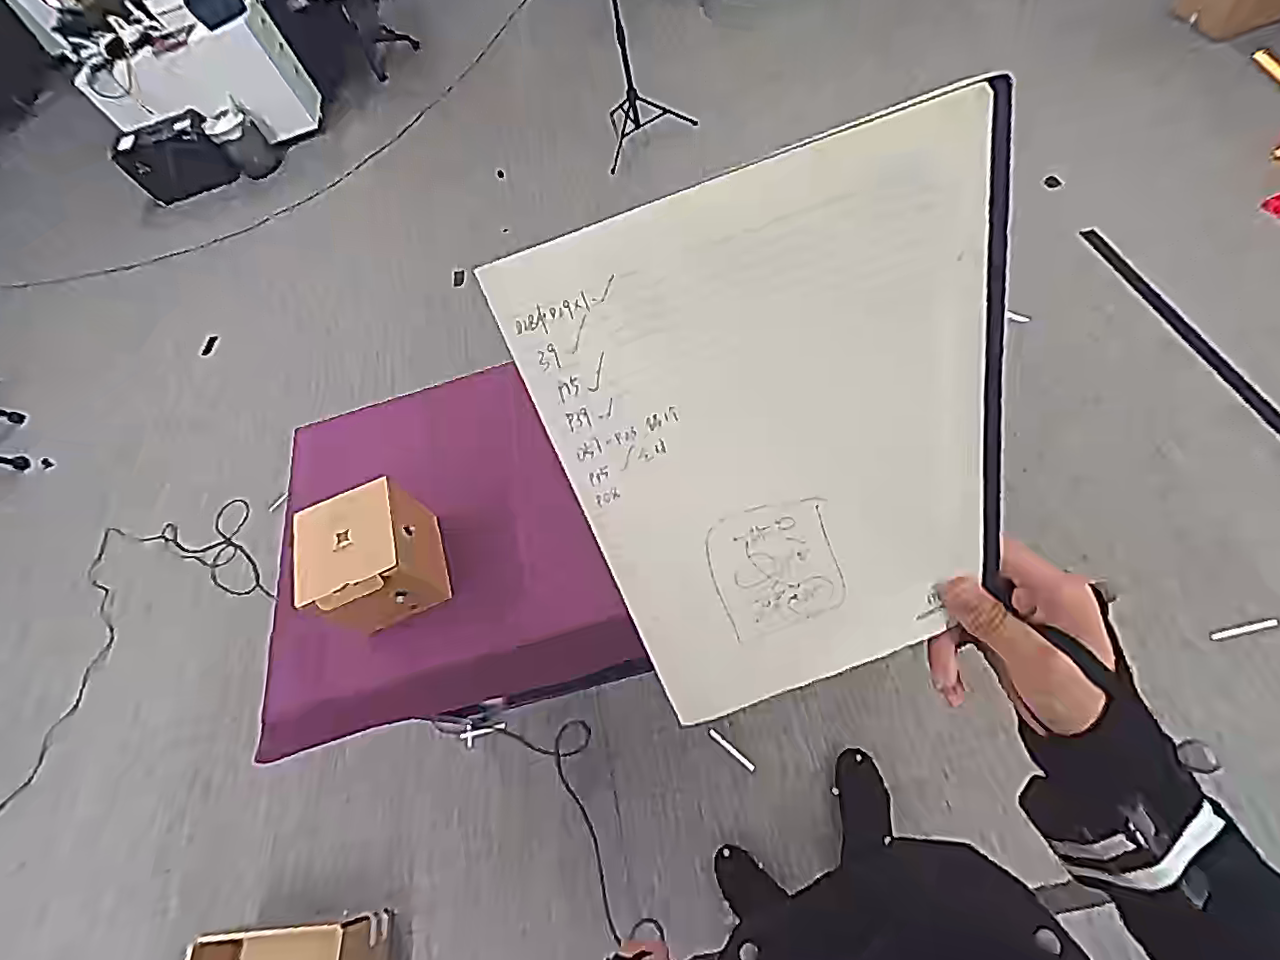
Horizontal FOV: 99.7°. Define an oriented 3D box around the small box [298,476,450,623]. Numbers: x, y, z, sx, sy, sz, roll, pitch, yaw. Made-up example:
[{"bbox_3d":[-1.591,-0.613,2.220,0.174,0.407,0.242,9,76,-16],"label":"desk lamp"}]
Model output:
[{"bbox_3d":[-0.443,0.128,0.916,0.168,0.176,0.179,-23,60,0],"label":"small box"}]
